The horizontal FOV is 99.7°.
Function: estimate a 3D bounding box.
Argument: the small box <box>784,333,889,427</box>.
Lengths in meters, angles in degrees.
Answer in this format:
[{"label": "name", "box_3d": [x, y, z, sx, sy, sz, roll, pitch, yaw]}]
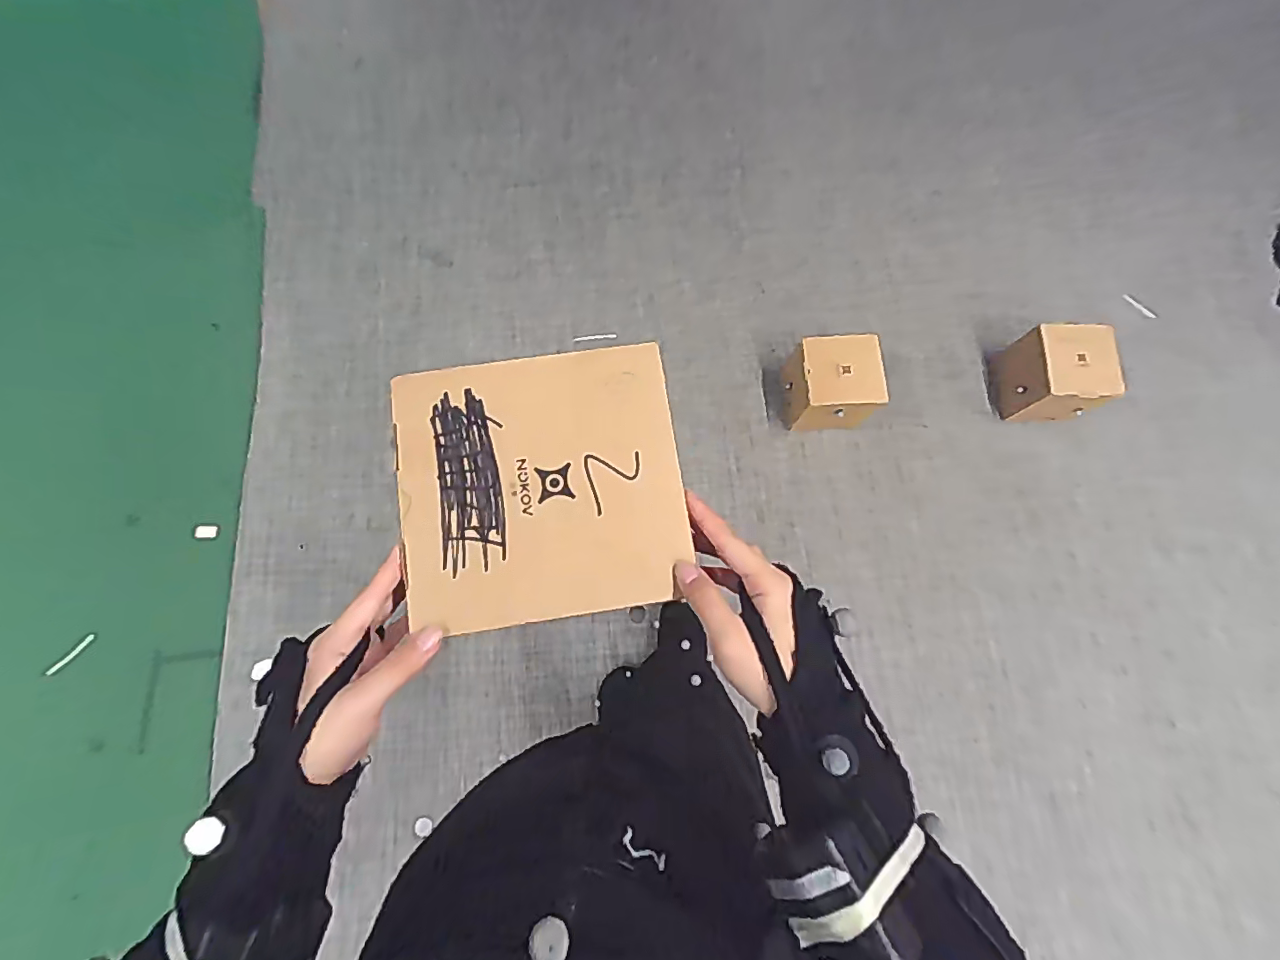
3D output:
[{"label": "small box", "box_3d": [0.450, -0.228, 1.264, 0.179, 0.176, 0.168, -3, 76, 0]}]

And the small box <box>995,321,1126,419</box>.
[{"label": "small box", "box_3d": [0.973, -0.250, 1.266, 0.168, 0.176, 0.179, 1, 75, -1]}]
